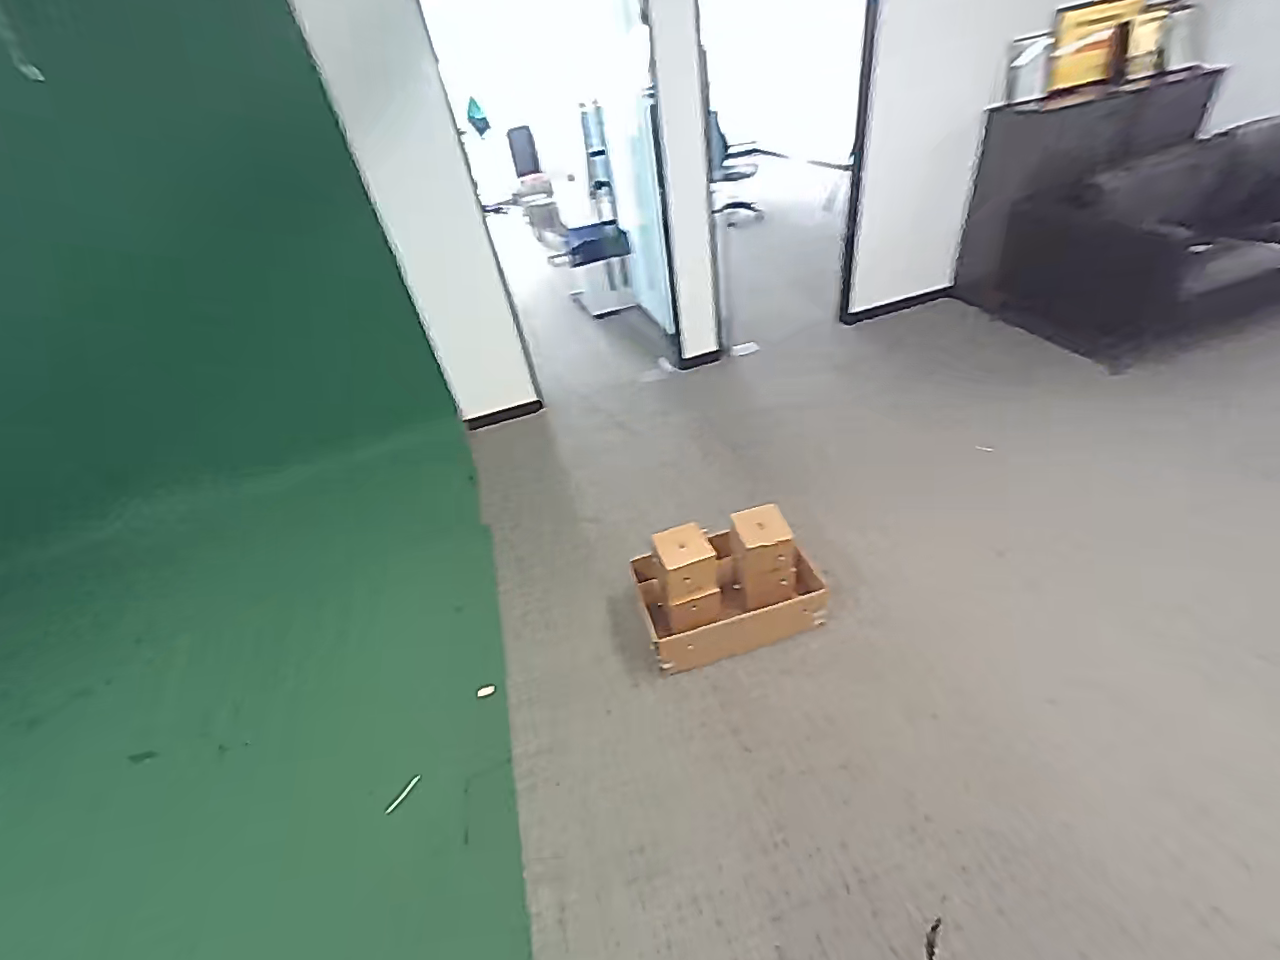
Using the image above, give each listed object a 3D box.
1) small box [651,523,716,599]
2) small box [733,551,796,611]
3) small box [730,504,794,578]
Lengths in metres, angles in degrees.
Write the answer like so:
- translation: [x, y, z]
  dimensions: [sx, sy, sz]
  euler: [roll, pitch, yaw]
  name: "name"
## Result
- translation: [0.151, 0.281, 1.833]
  dimensions: [0.168, 0.176, 0.179]
  euler: [-18, 38, -10]
  name: "small box"
- translation: [0.446, 0.342, 1.948]
  dimensions: [0.179, 0.176, 0.168]
  euler: [-14, 38, -3]
  name: "small box"
- translation: [0.417, 0.216, 1.850]
  dimensions: [0.168, 0.176, 0.179]
  euler: [-13, 38, -4]
  name: "small box"
